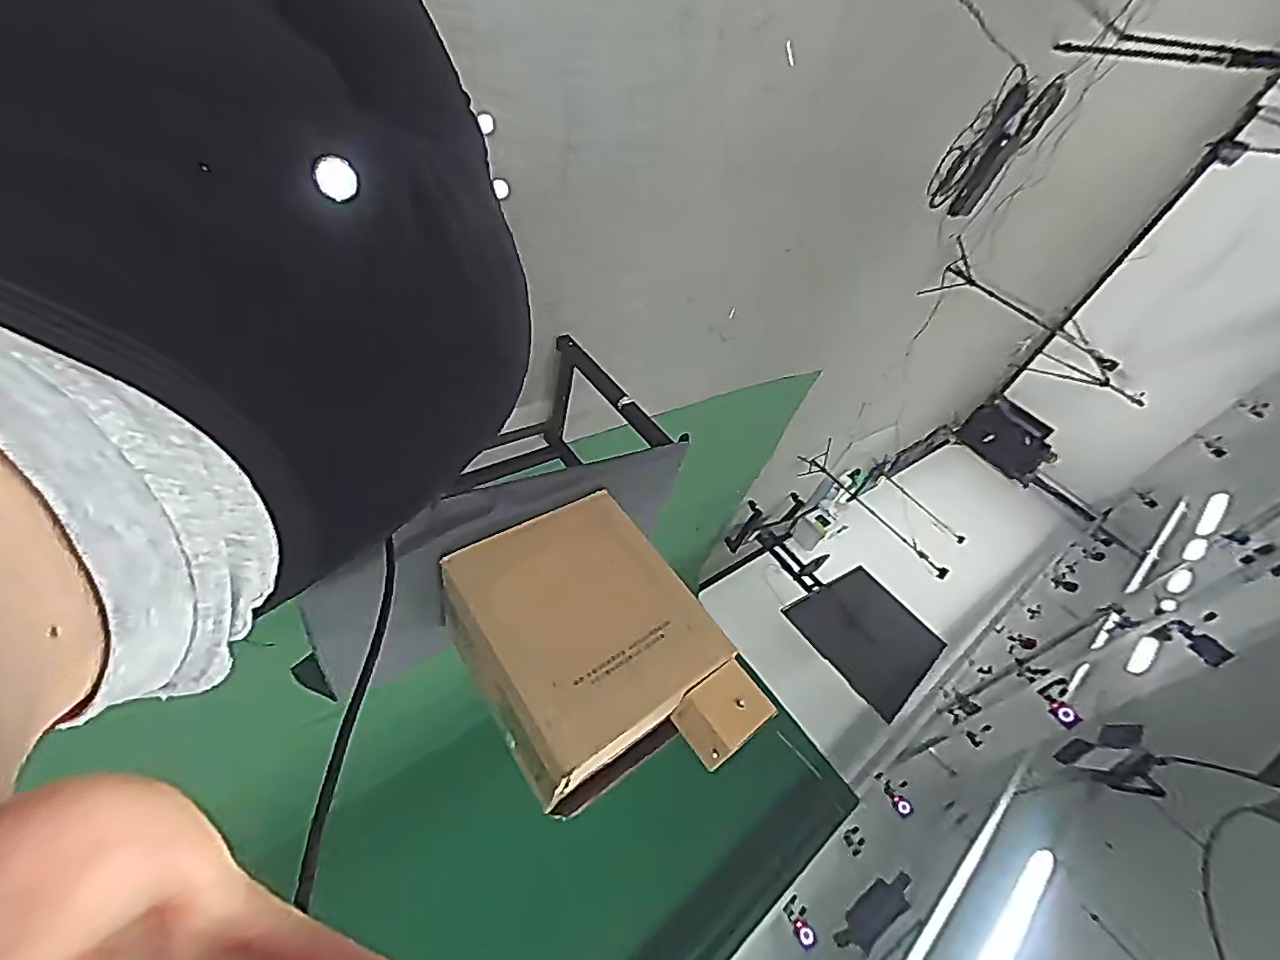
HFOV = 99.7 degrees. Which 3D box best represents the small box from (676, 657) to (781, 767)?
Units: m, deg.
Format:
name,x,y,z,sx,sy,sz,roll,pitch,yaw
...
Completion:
name,x,y,z,sx,sy,sz,roll,pitch,yaw
small box,0.223,0.593,1.397,0.179,0.176,0.168,-26,148,-34
